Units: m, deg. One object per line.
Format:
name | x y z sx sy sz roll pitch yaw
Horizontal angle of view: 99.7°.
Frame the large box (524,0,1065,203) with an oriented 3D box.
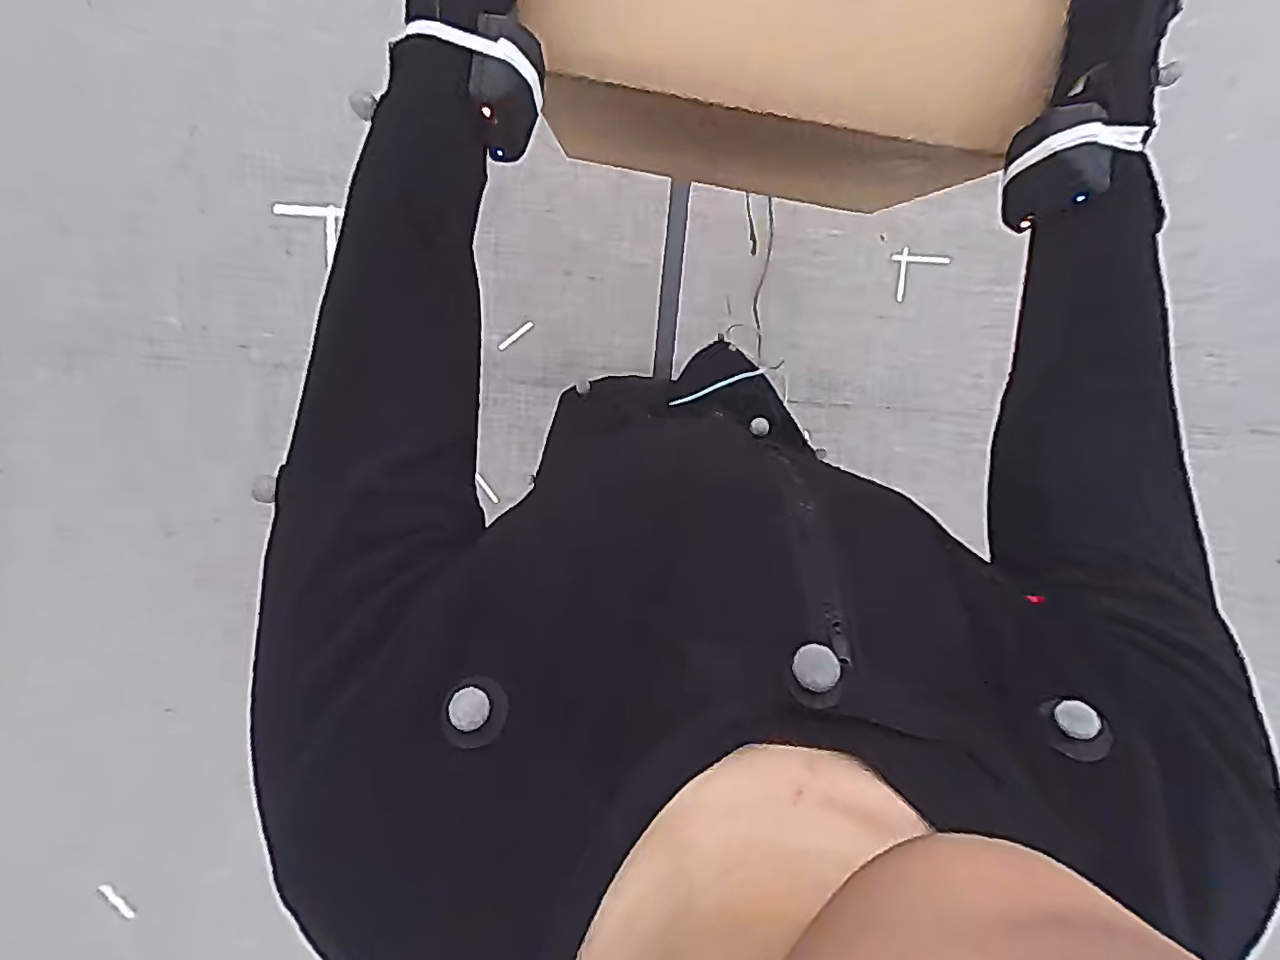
large box | 0.125 -0.483 0.512 0.408 0.320 0.320 9 110 -3
